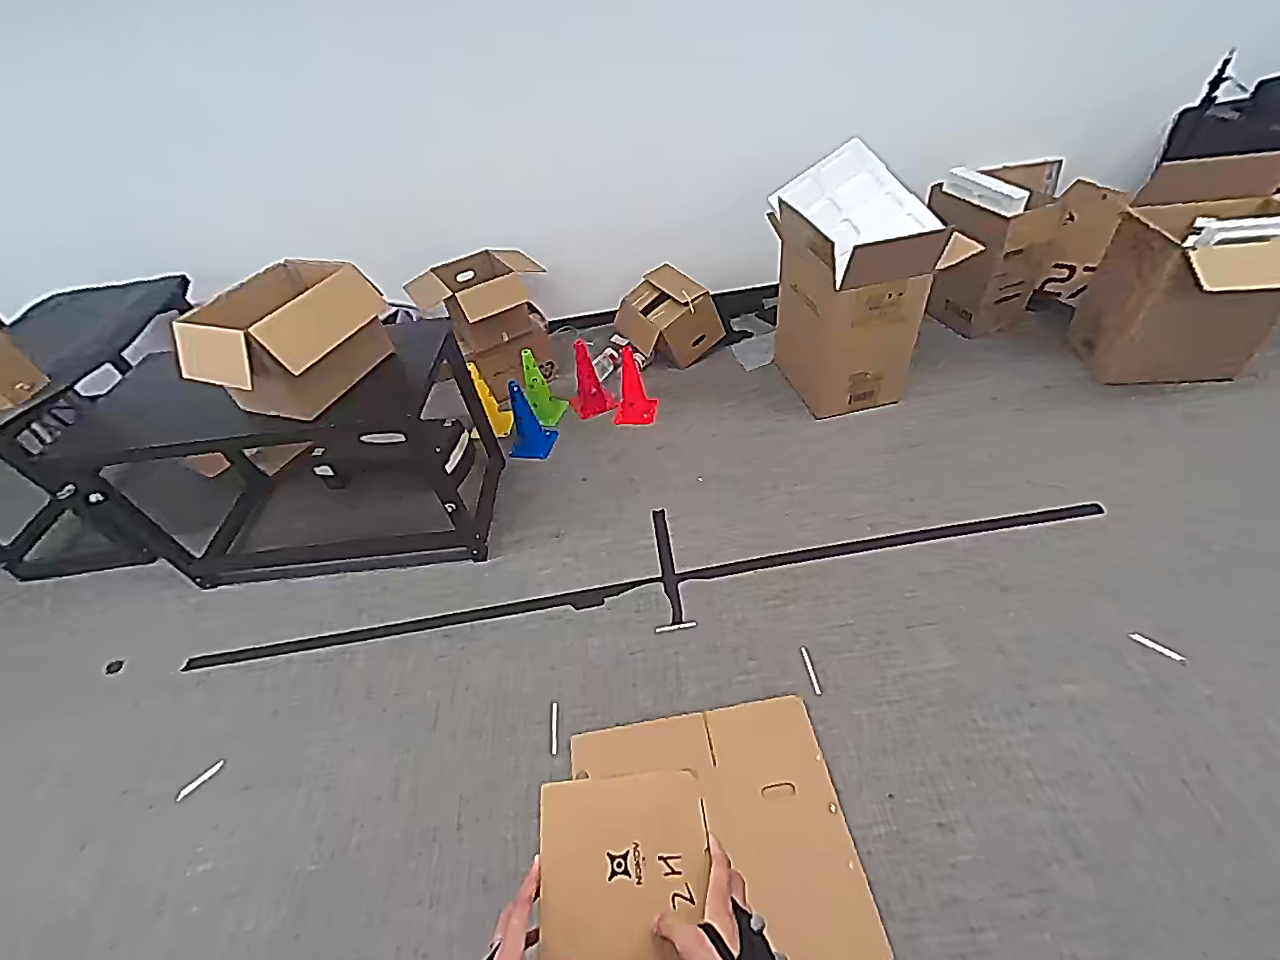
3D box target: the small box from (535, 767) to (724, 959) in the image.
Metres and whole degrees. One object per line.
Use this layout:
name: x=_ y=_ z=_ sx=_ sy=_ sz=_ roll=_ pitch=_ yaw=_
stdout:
small box: x=-0.020 y=0.436 z=0.598 sx=0.179 sy=0.176 sz=0.168 roll=-1 pitch=48 yaw=-7
